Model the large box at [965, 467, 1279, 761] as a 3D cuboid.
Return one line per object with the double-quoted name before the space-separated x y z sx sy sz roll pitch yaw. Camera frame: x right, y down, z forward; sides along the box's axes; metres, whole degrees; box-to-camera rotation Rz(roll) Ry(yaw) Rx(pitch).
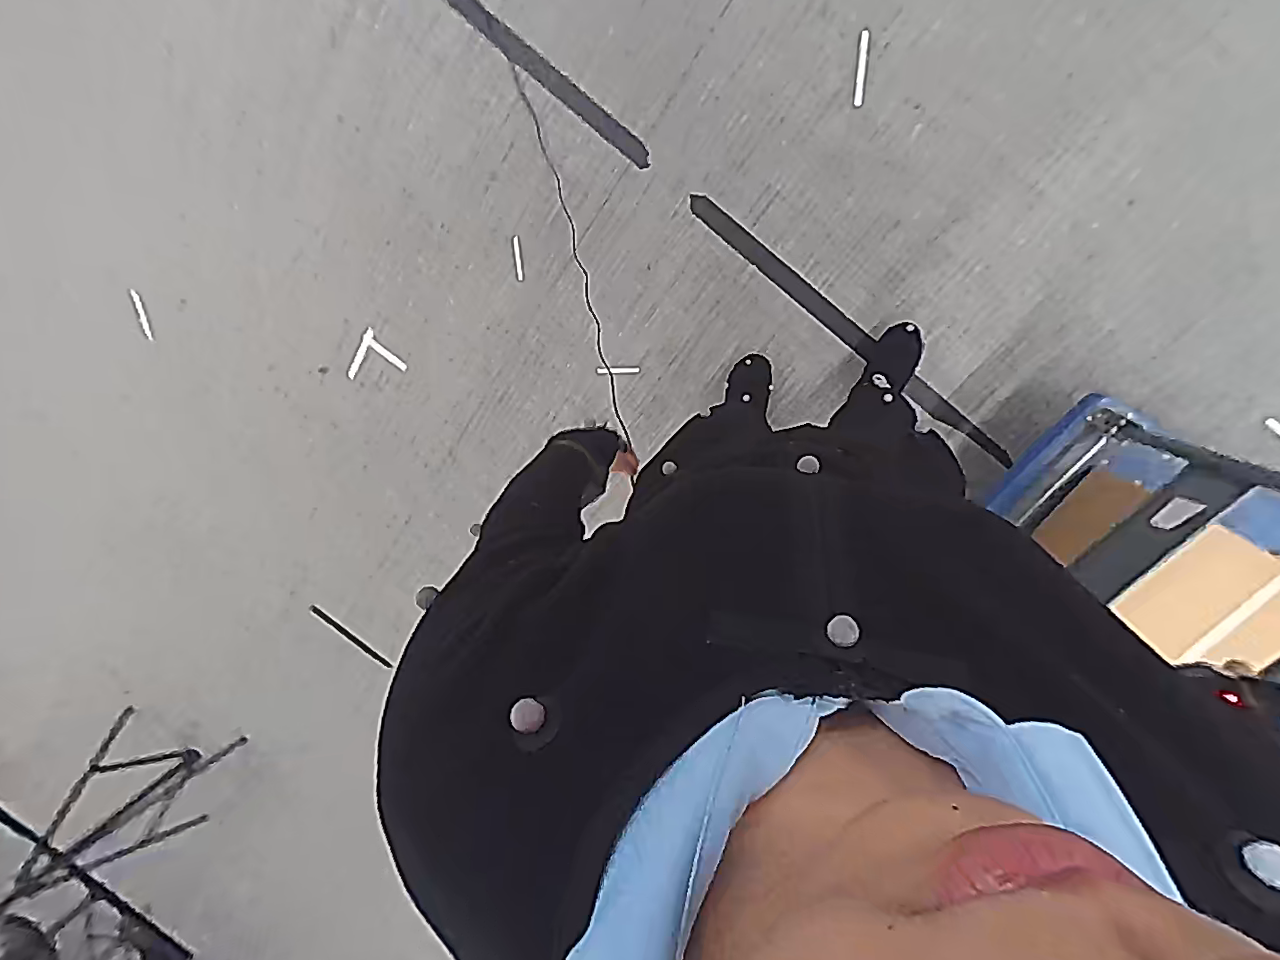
"large box" 0.962 0.246 1.083 0.320 0.320 0.408 31 112 3
